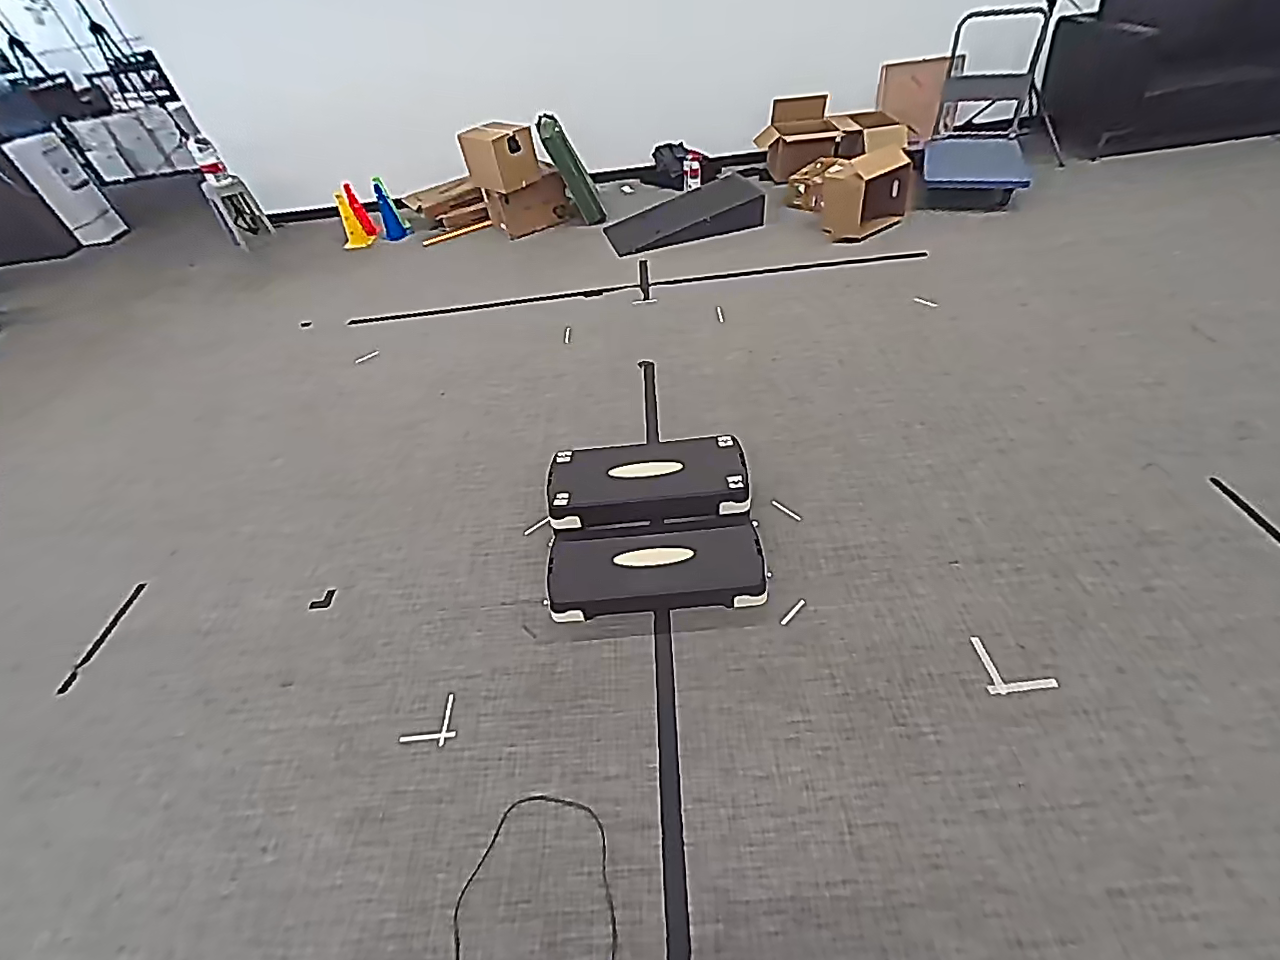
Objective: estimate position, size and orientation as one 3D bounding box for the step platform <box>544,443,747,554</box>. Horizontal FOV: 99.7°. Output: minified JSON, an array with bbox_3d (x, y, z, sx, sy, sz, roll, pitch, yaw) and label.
[{"bbox_3d":[0.016,0.056,1.849,0.684,0.204,0.286,-6,46,2],"label":"step platform"}]
